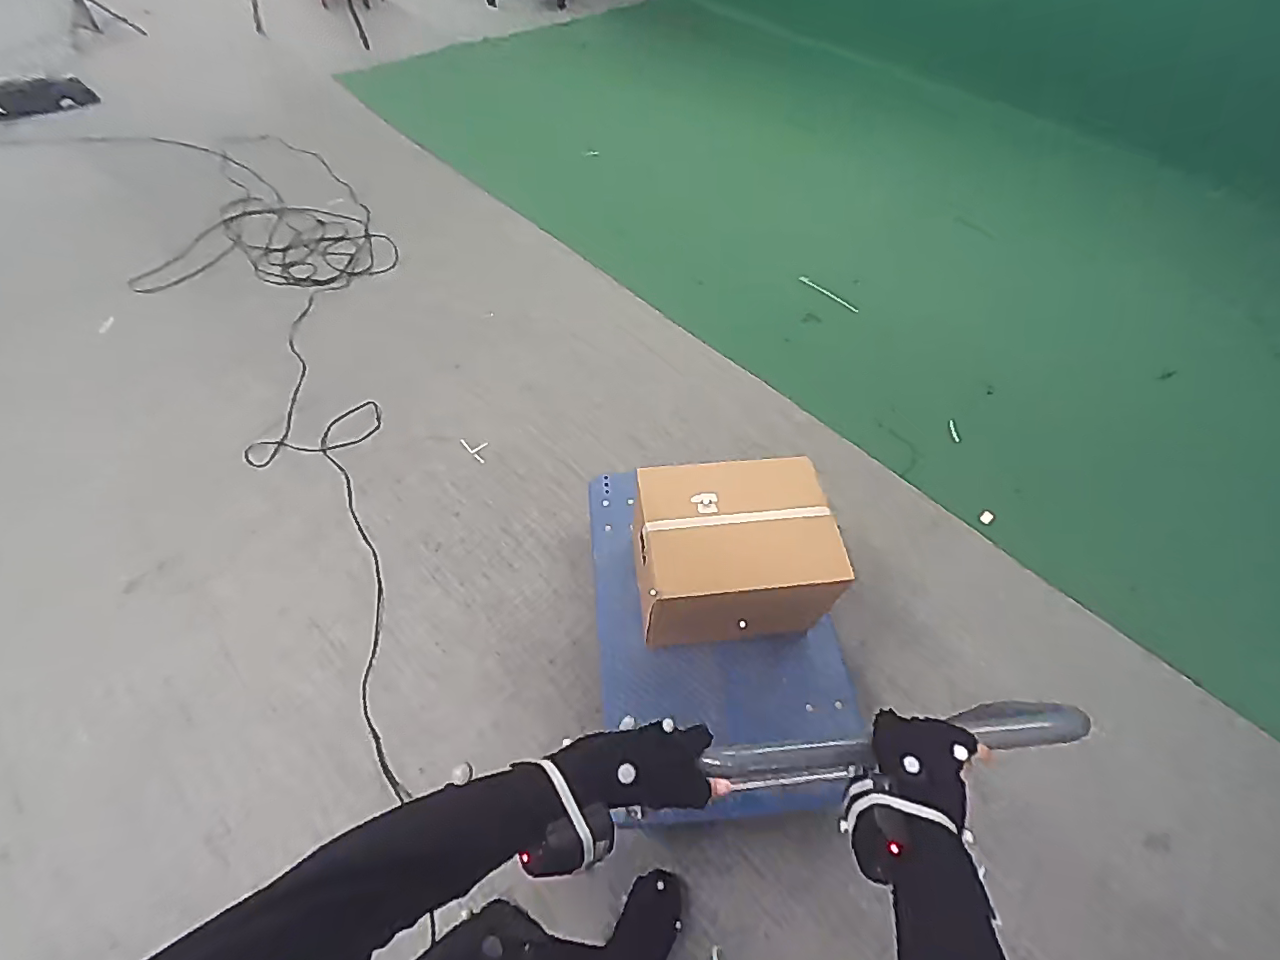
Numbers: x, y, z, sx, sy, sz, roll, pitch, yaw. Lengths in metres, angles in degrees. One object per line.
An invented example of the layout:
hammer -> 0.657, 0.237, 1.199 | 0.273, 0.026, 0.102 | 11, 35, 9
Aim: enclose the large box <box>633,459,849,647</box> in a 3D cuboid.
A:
large box -> 0.203, 0.178, 1.273 | 0.408, 0.320, 0.320 | -5, 55, -6
